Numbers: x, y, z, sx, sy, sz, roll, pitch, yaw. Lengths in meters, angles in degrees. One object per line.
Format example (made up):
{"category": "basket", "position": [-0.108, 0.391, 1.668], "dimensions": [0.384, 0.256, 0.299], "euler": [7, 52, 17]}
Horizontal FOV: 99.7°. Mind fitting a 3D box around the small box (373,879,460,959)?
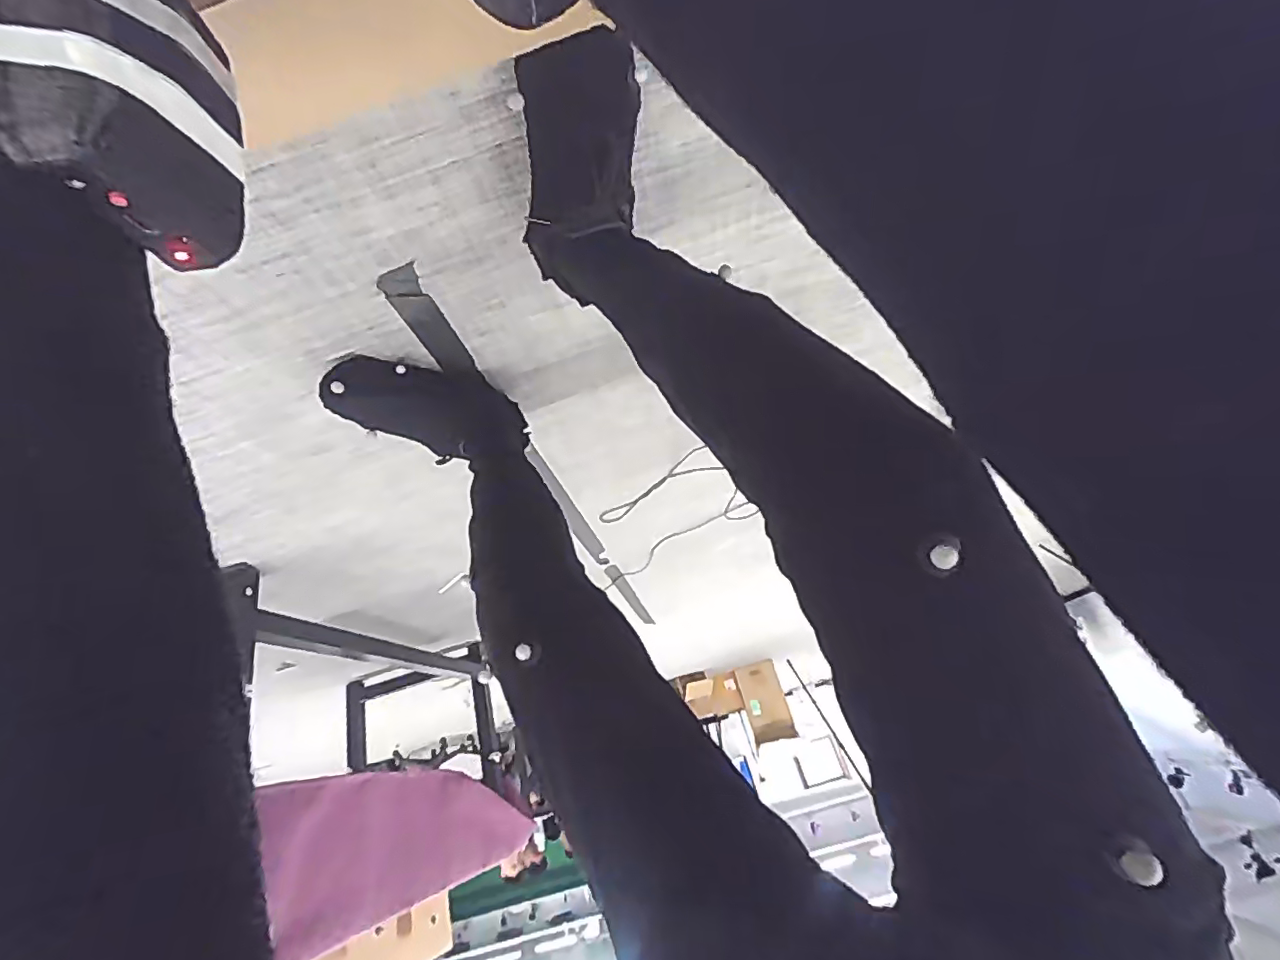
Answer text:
{"category": "small box", "position": [-0.649, 1.282, 1.561], "dimensions": [0.179, 0.176, 0.168], "euler": [-22, 152, 11]}
